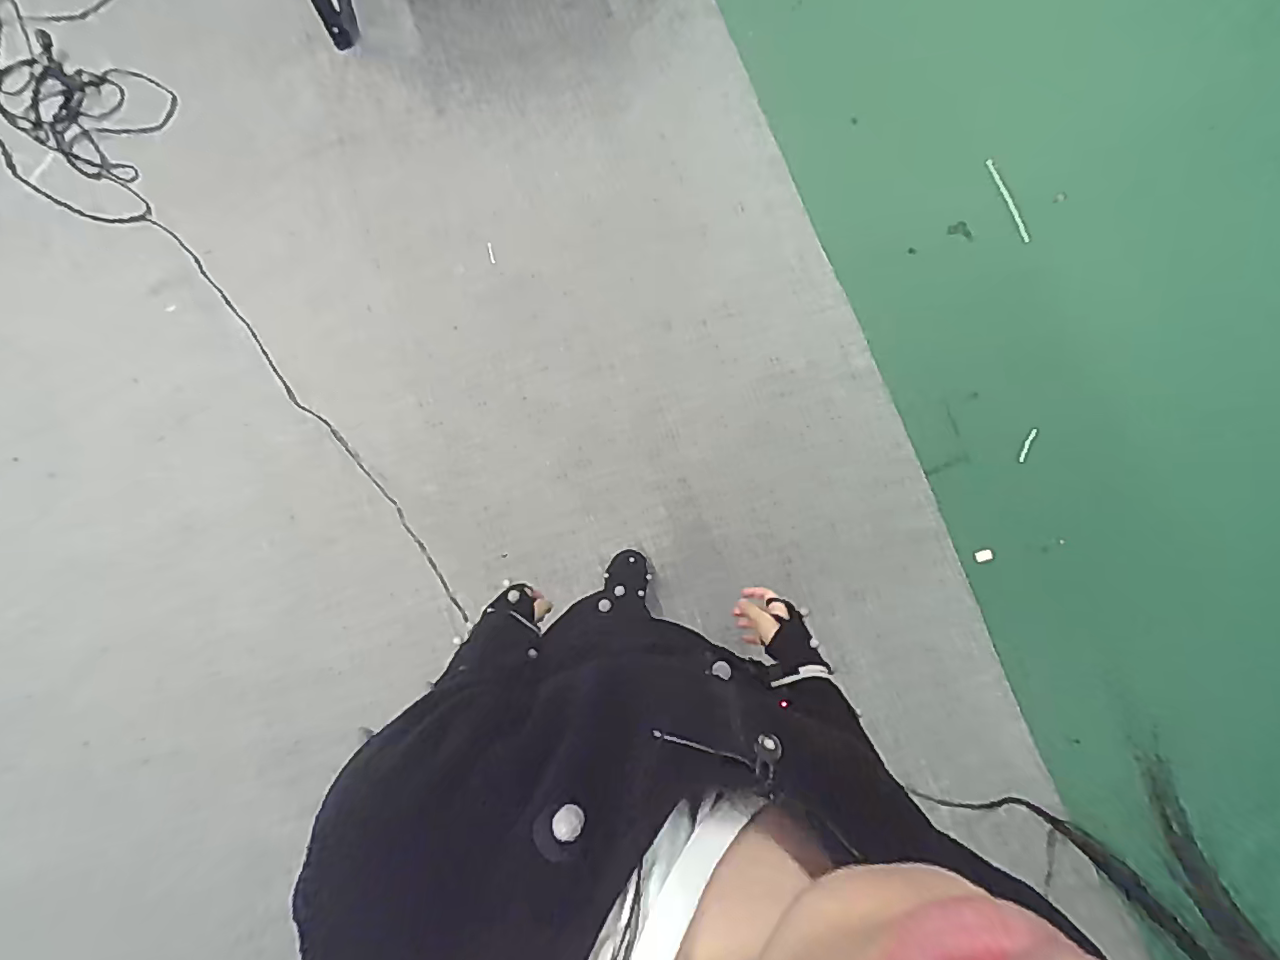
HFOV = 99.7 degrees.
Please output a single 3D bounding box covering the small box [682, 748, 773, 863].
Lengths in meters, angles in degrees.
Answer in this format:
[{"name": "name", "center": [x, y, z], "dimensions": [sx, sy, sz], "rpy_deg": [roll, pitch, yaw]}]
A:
[{"name": "small box", "center": [0.212, 0.800, 1.347], "dimensions": [0.168, 0.176, 0.179], "rpy_deg": [-13, 80, -6]}]
